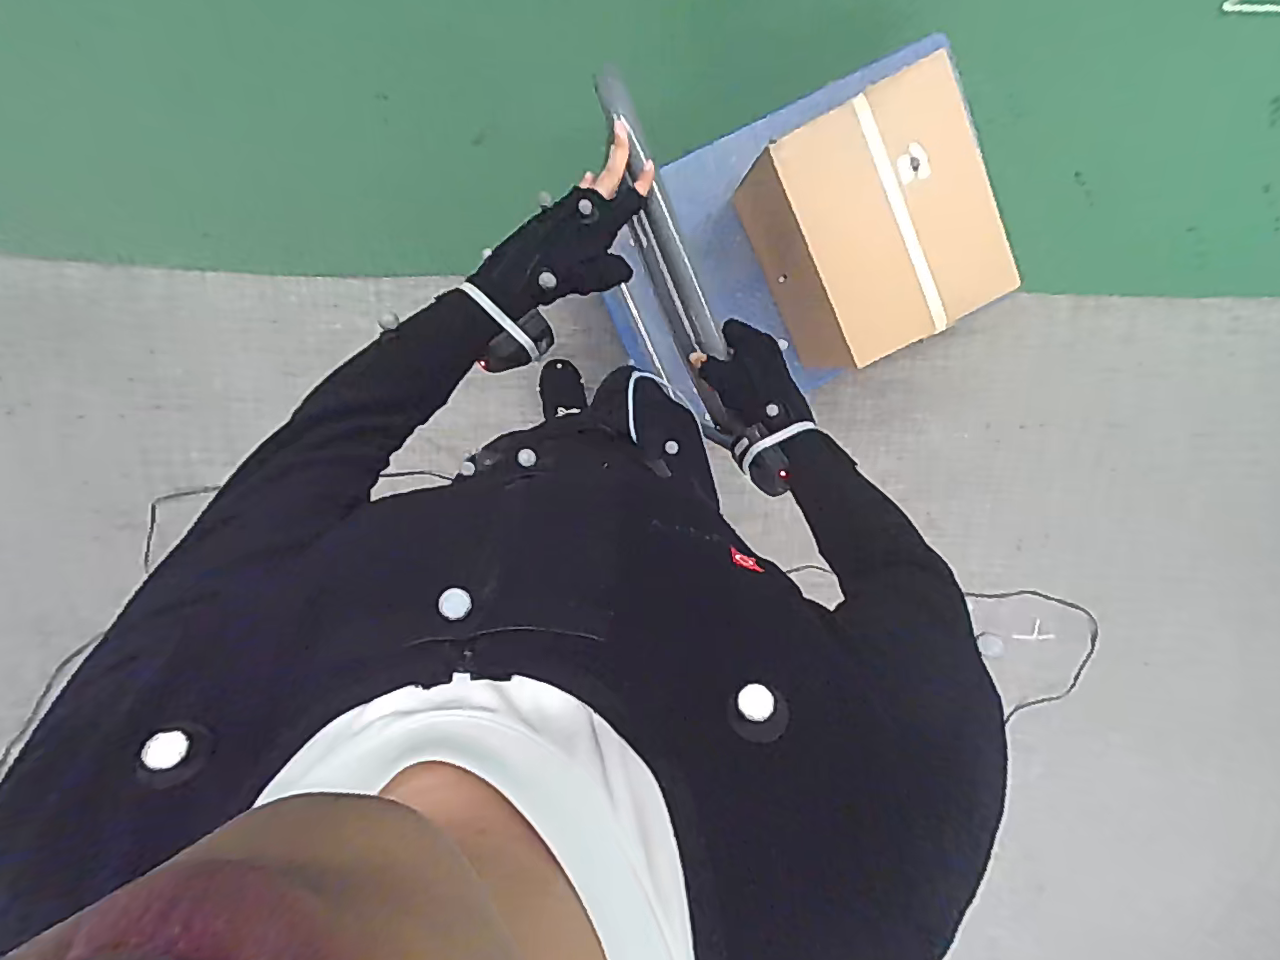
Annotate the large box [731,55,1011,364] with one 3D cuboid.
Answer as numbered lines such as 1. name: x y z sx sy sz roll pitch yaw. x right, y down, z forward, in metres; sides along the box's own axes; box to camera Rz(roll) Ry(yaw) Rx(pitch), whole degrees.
1. large box: 0.422 -0.477 1.062 0.320 0.320 0.408 -27 102 3
